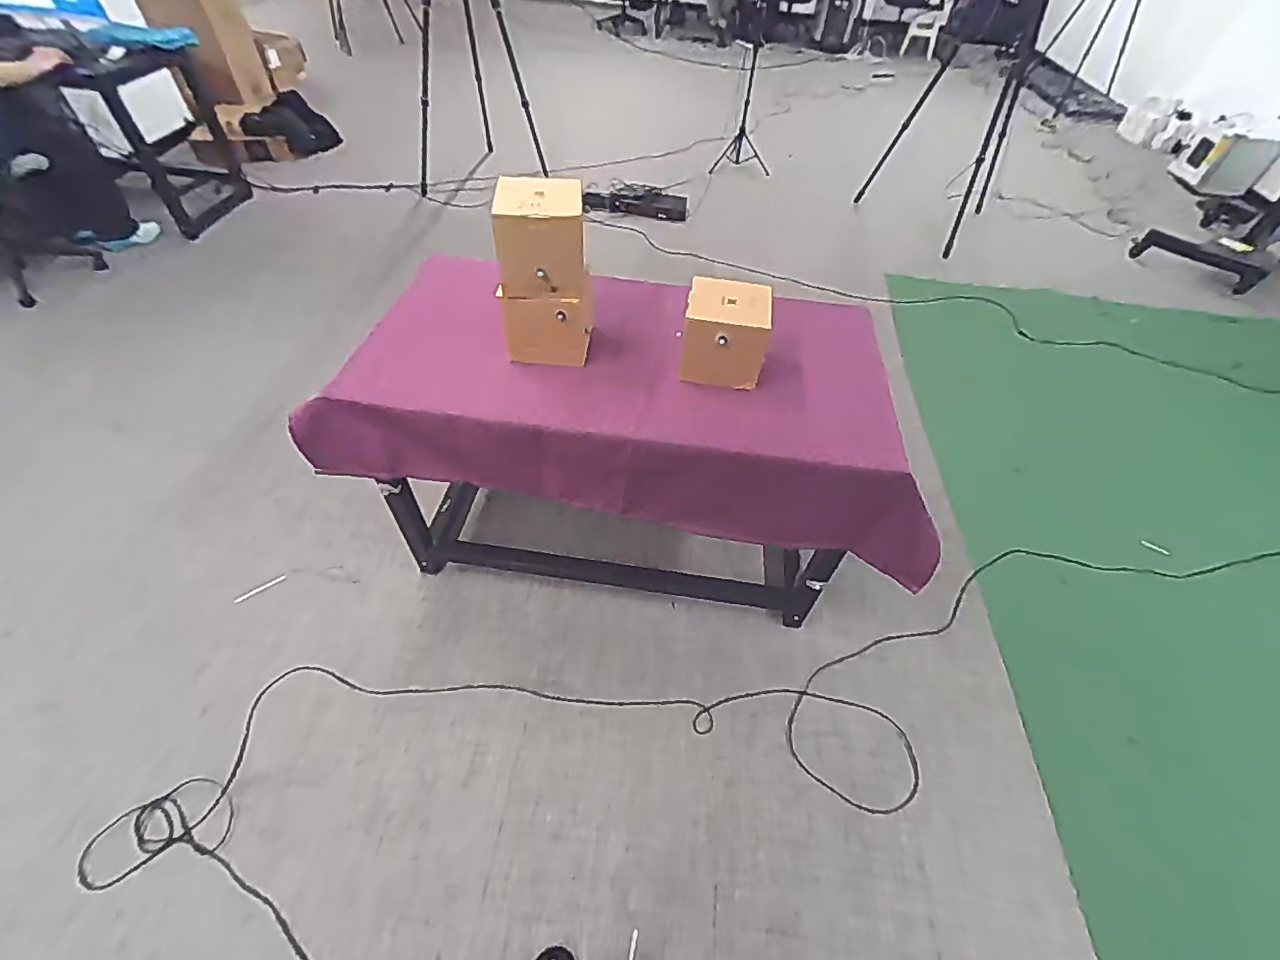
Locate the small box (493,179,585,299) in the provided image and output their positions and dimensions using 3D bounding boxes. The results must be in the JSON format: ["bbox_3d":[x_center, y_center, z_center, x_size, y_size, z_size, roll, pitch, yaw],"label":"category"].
[{"bbox_3d":[-0.198,-0.488,1.102,0.168,0.176,0.179,-2,49,-5],"label":"small box"}]

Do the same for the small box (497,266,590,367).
[{"bbox_3d":[-0.209,-0.372,1.219,0.179,0.176,0.168,5,49,-1],"label":"small box"}]

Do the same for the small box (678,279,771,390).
[{"bbox_3d":[0.184,-0.319,1.198,0.179,0.176,0.168,10,50,4],"label":"small box"}]
